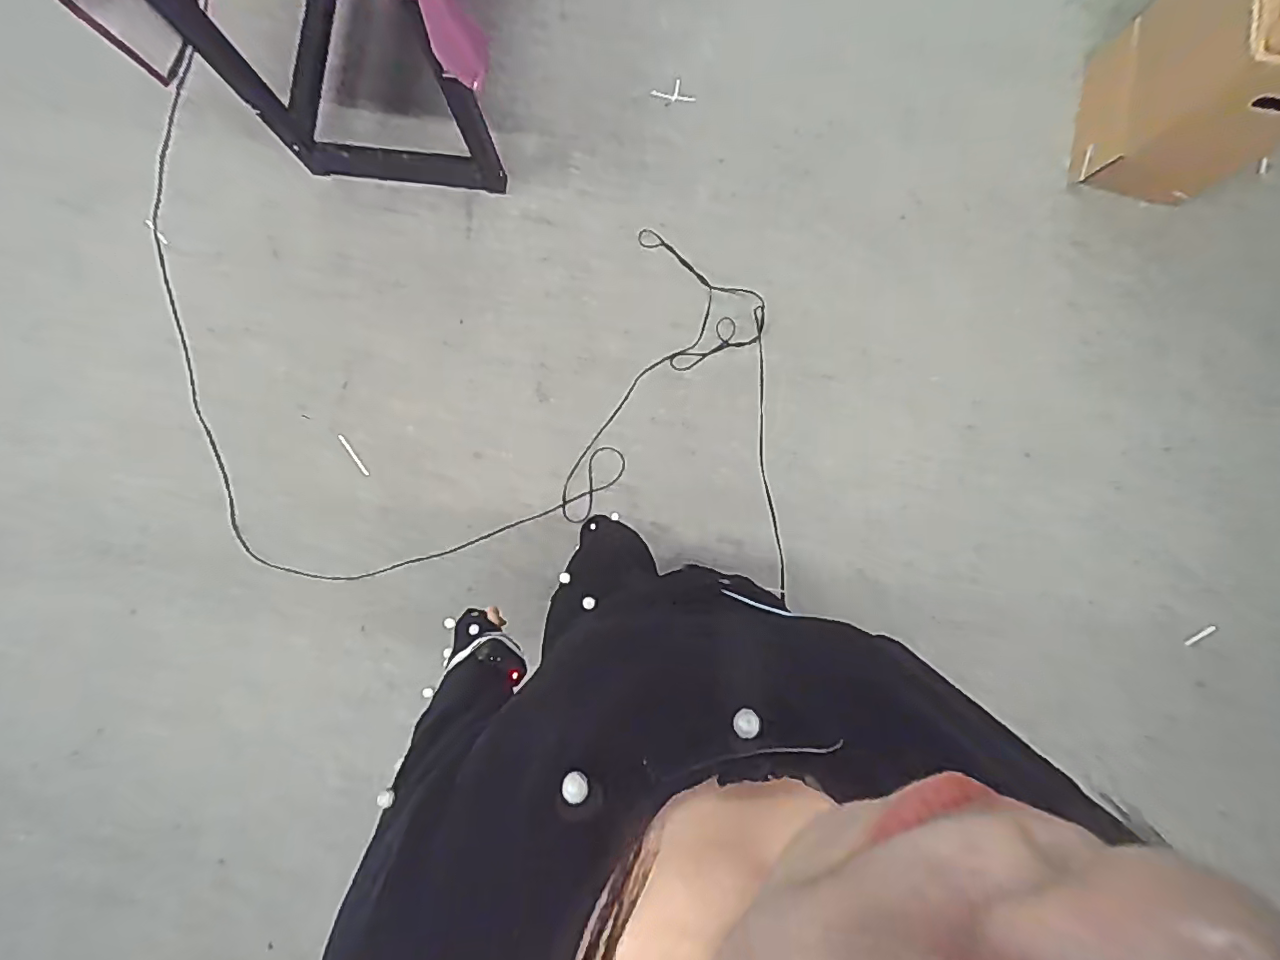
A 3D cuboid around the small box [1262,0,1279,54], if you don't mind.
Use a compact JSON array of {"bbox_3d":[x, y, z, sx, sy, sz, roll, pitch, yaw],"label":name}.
[{"bbox_3d":[1.399,-0.958,1.052,0.179,0.176,0.168,12,85,0],"label":"small box"}]
